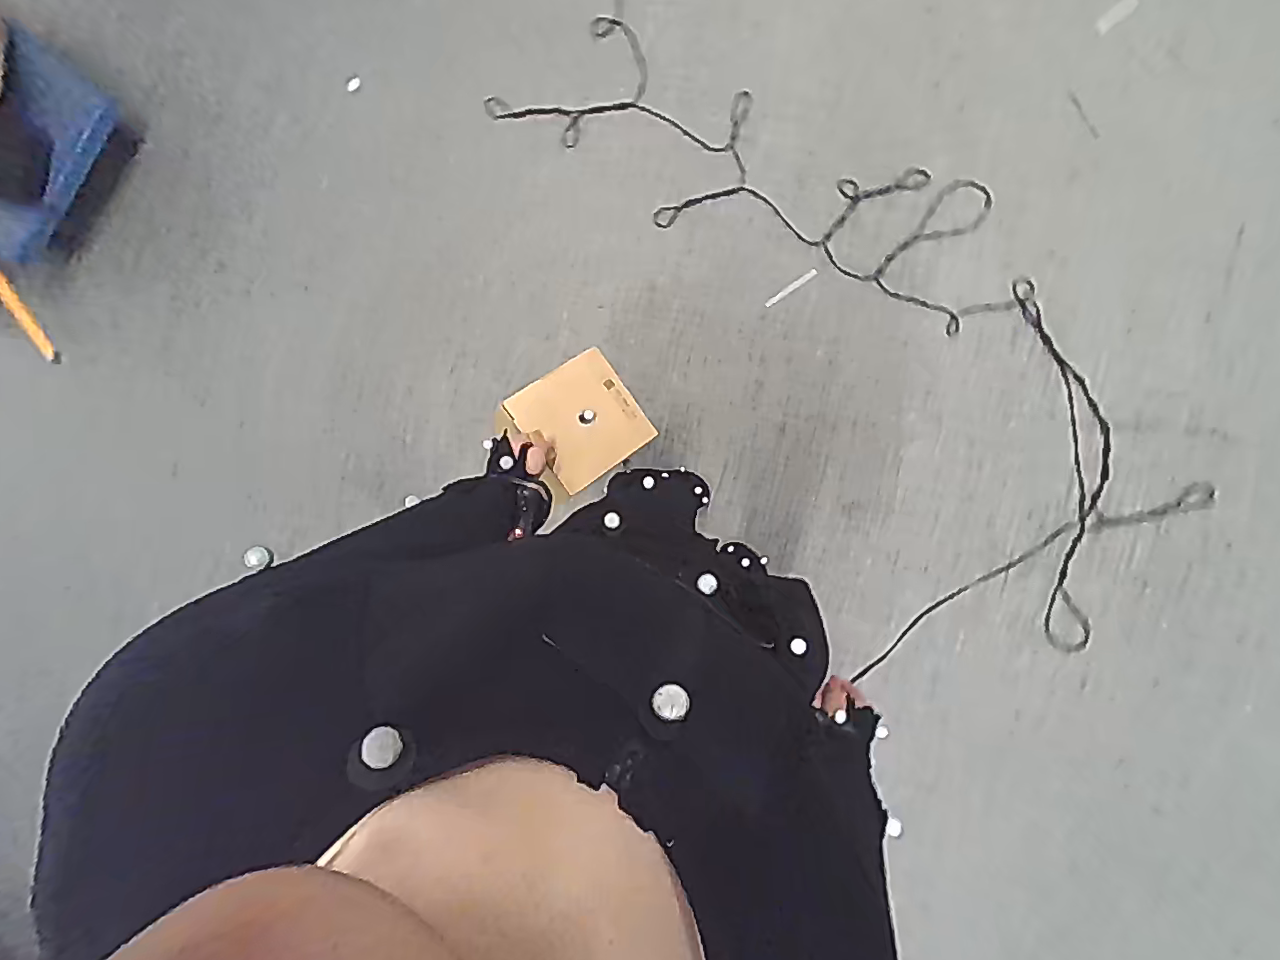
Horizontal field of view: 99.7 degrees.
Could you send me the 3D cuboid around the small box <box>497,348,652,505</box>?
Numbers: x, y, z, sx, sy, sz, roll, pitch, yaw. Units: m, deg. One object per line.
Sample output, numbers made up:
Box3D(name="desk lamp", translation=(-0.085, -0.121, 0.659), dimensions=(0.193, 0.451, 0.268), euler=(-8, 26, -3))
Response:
Box3D(name="small box", translation=(-0.104, -0.082, 0.859), dimensions=(0.176, 0.179, 0.168), euler=(-38, 94, -19))
